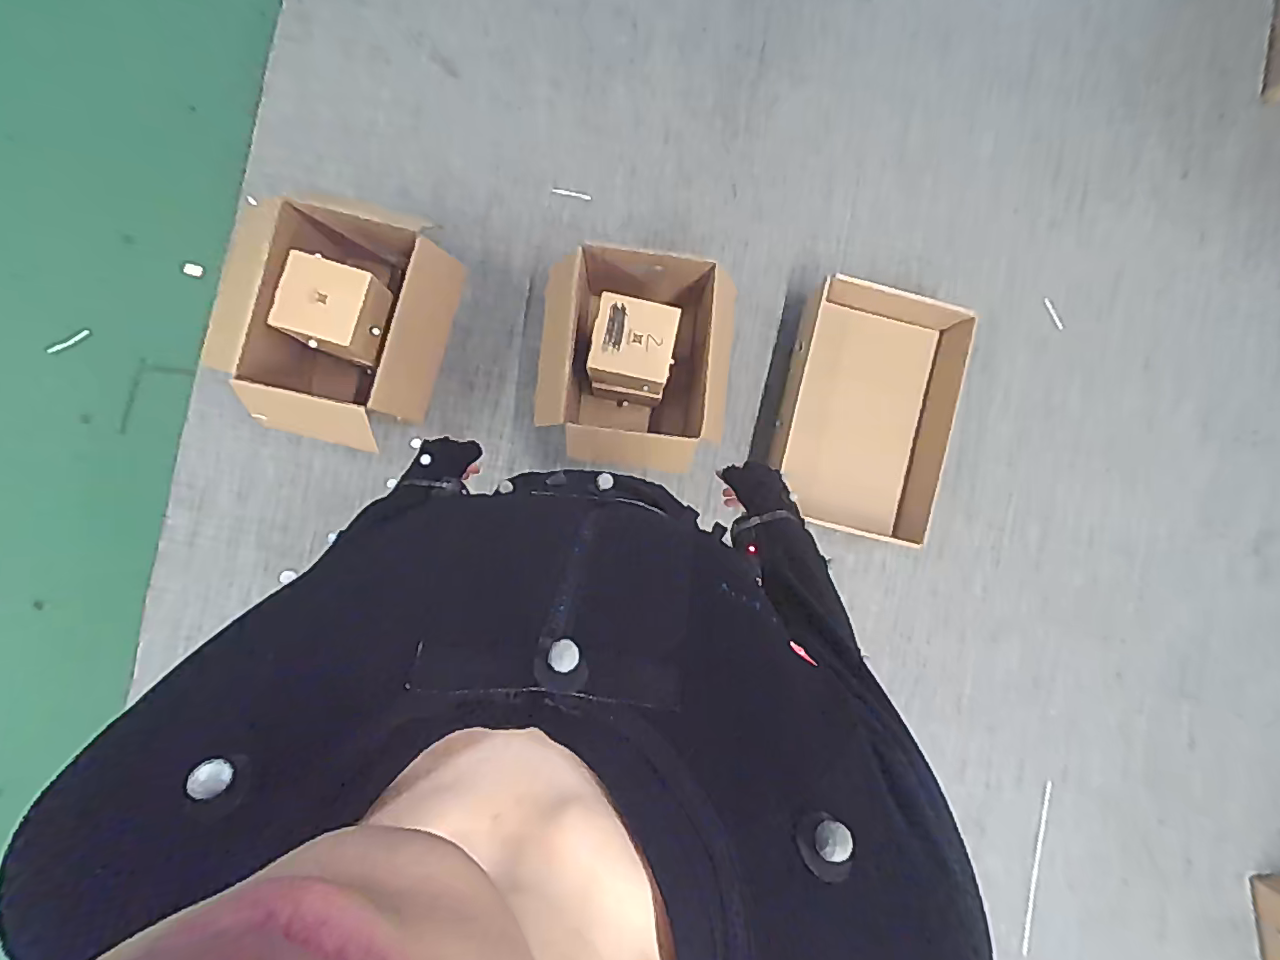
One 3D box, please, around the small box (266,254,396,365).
[{"bbox_3d":[-0.676,-0.368,1.207,0.179,0.176,0.168,15,87,-3],"label":"small box"}]
